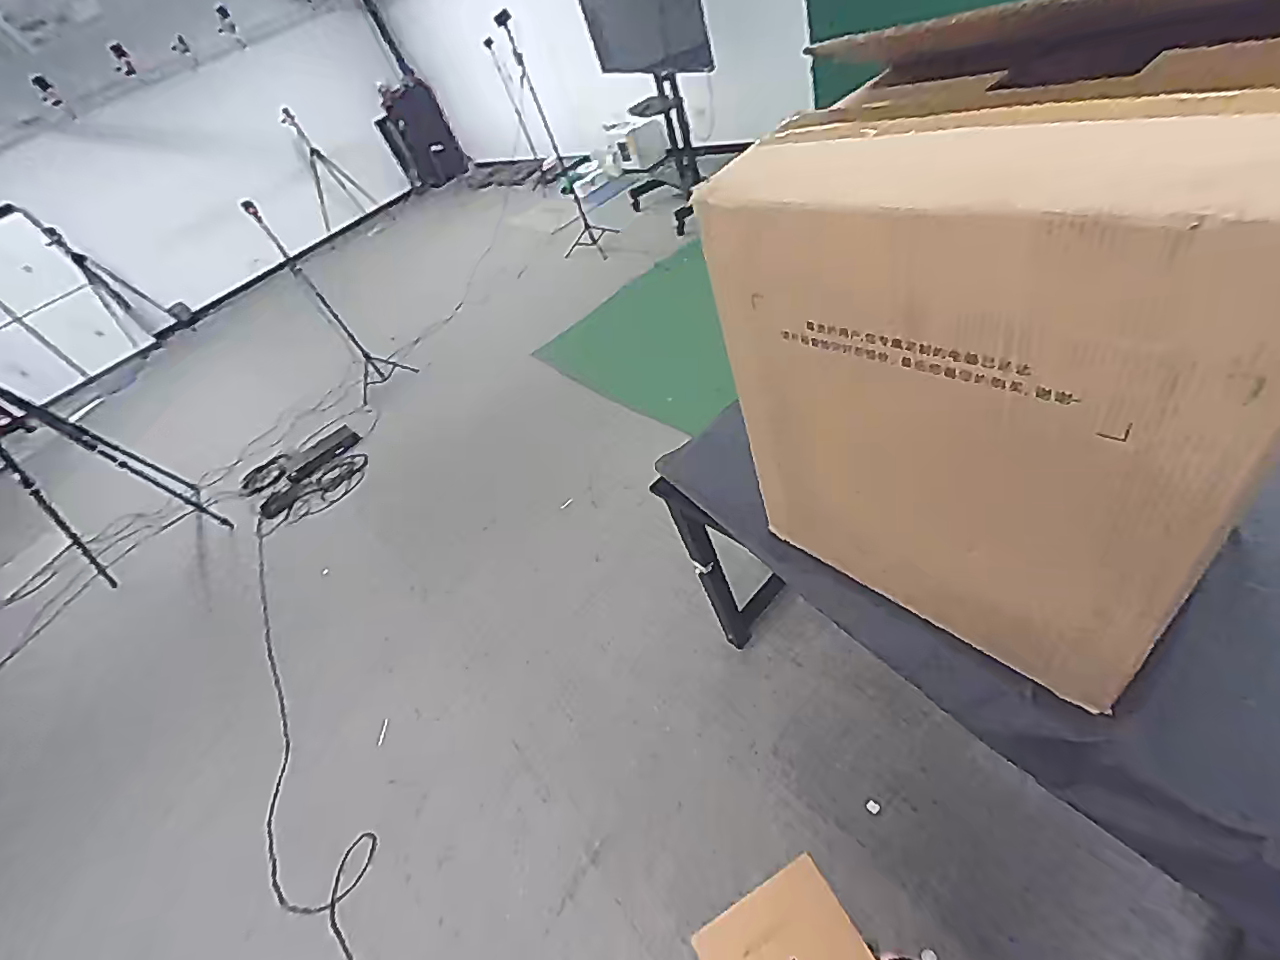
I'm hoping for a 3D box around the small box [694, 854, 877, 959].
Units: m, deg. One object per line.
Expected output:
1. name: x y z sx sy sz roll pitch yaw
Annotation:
1. small box: 0.190 0.569 0.587 0.168 0.176 0.179 -31 29 -8
